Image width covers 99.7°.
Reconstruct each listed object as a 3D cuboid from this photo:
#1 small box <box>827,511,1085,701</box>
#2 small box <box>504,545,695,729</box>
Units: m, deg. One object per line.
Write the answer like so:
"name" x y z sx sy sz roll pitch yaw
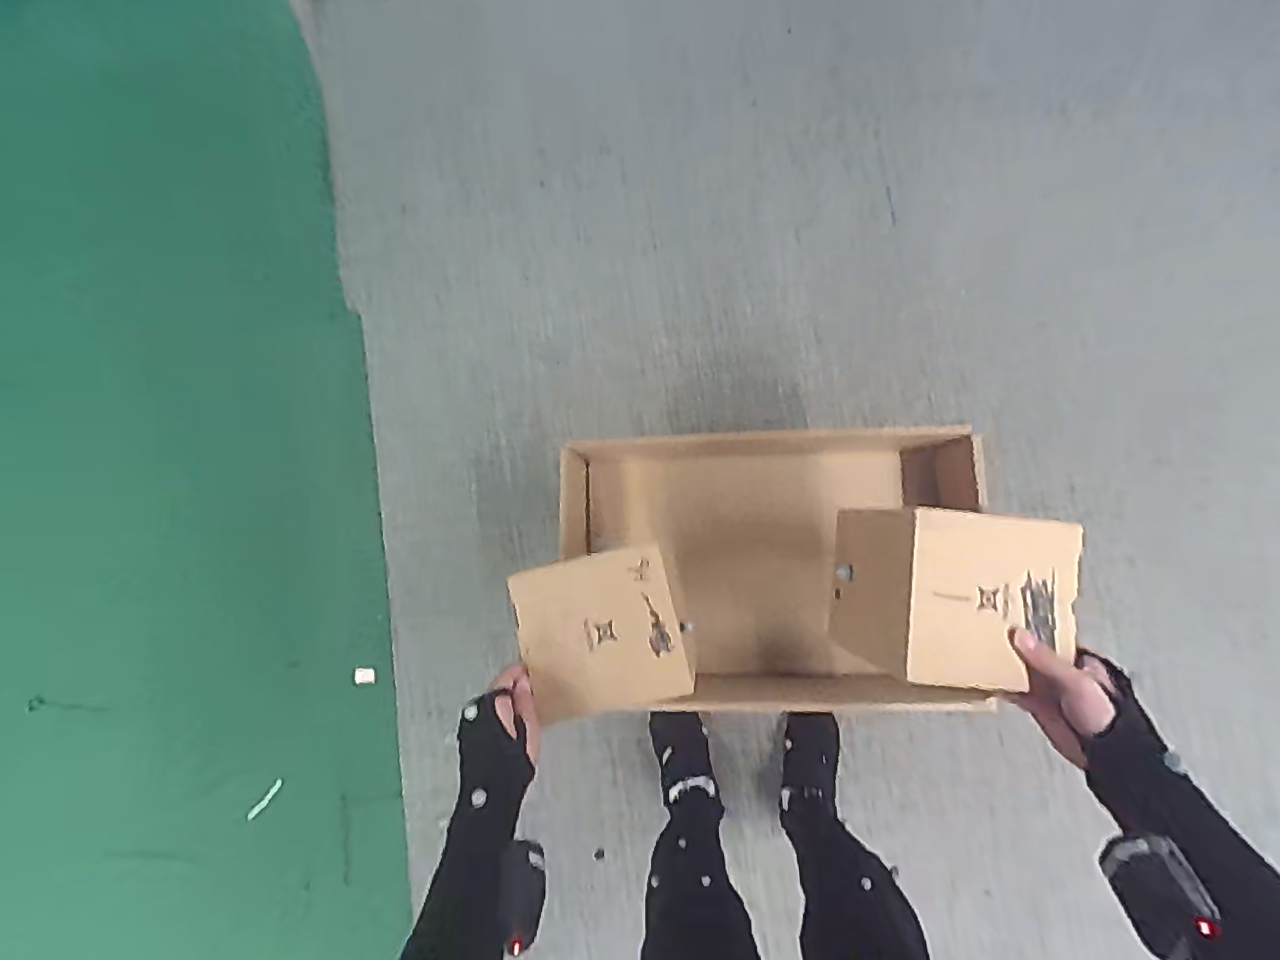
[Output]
"small box" 0.327 0.124 0.587 0.179 0.176 0.168 6 85 -4
"small box" -0.039 0.178 0.656 0.179 0.176 0.168 -15 83 7
